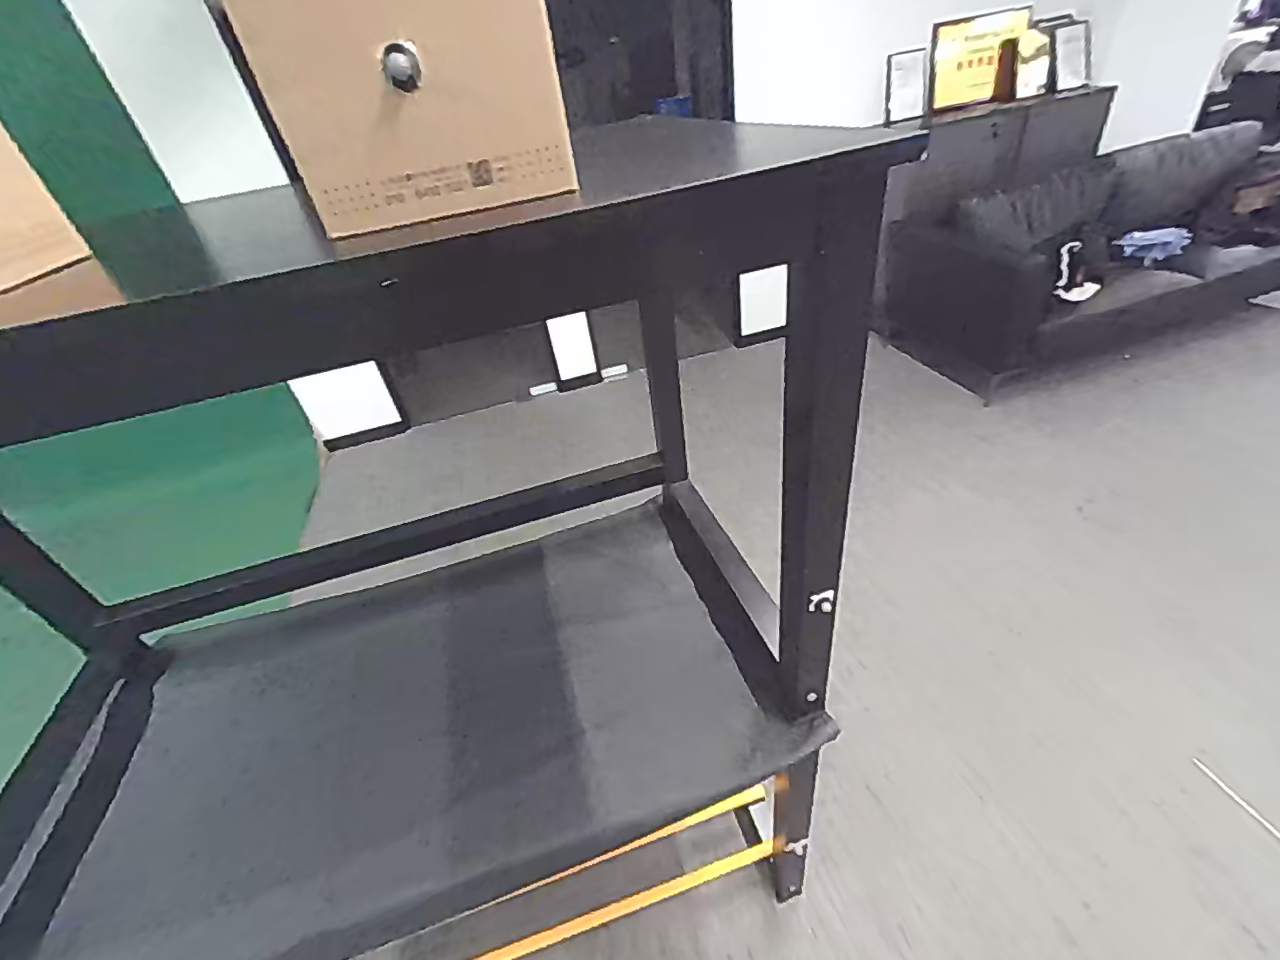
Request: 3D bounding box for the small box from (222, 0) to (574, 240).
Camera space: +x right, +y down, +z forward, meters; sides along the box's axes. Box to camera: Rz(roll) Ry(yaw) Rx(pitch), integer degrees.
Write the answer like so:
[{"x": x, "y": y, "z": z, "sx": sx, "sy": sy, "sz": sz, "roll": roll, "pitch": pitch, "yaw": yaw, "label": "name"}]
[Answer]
[{"x": -0.151, "y": -0.279, "z": 0.377, "sx": 0.168, "sy": 0.176, "sz": 0.179, "roll": -15, "pitch": 37, "yaw": -7, "label": "small box"}]
